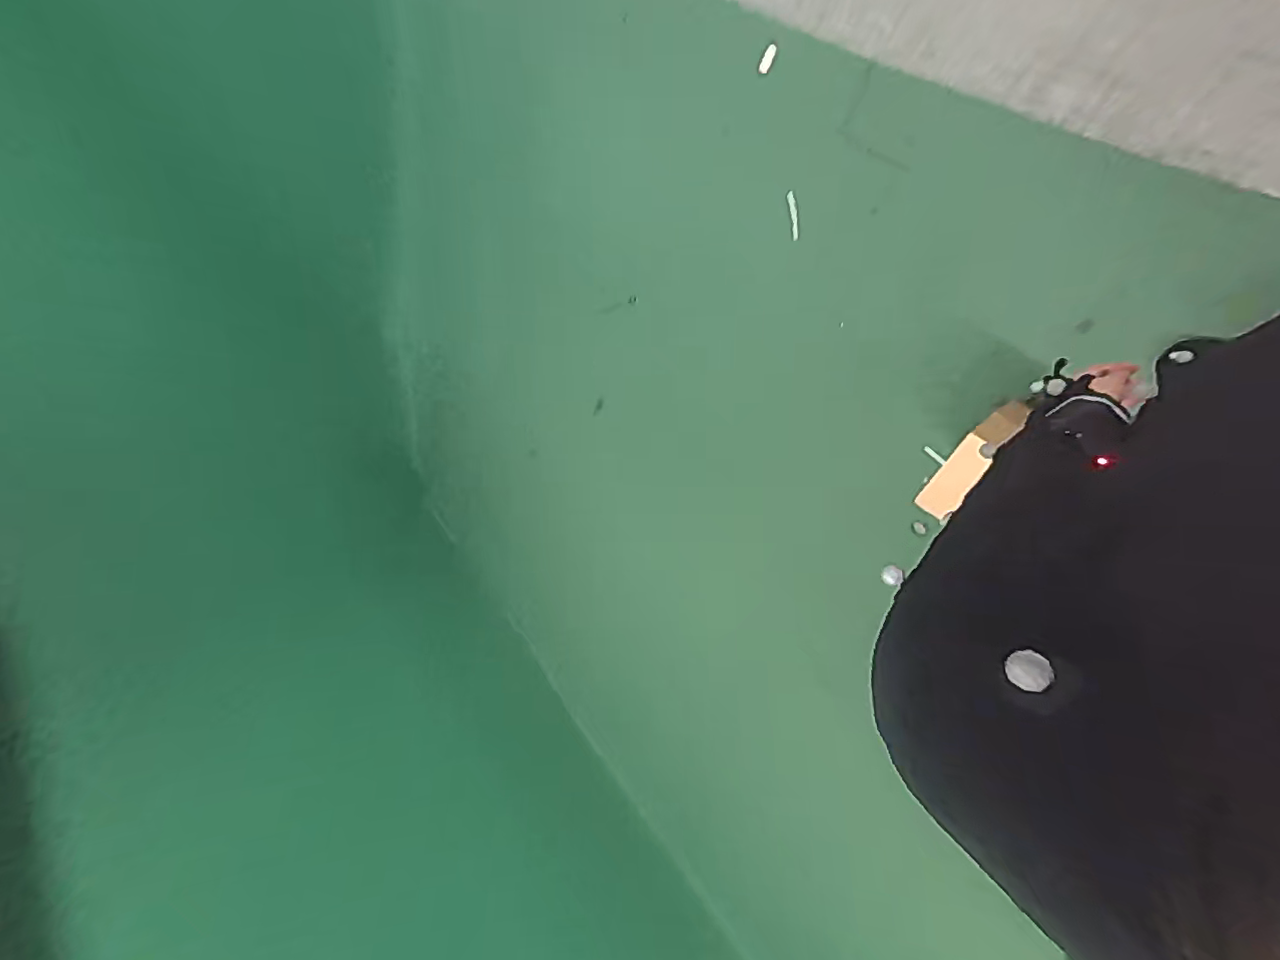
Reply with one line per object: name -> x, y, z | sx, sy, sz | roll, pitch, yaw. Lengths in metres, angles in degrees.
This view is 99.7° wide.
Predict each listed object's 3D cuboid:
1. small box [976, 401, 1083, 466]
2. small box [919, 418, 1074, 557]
small box -> 0.780, -0.042, 1.131 | 0.168, 0.176, 0.179 | 43, 132, 26
small box -> 0.672, 0.005, 1.018 | 0.168, 0.176, 0.179 | 42, 134, 27
